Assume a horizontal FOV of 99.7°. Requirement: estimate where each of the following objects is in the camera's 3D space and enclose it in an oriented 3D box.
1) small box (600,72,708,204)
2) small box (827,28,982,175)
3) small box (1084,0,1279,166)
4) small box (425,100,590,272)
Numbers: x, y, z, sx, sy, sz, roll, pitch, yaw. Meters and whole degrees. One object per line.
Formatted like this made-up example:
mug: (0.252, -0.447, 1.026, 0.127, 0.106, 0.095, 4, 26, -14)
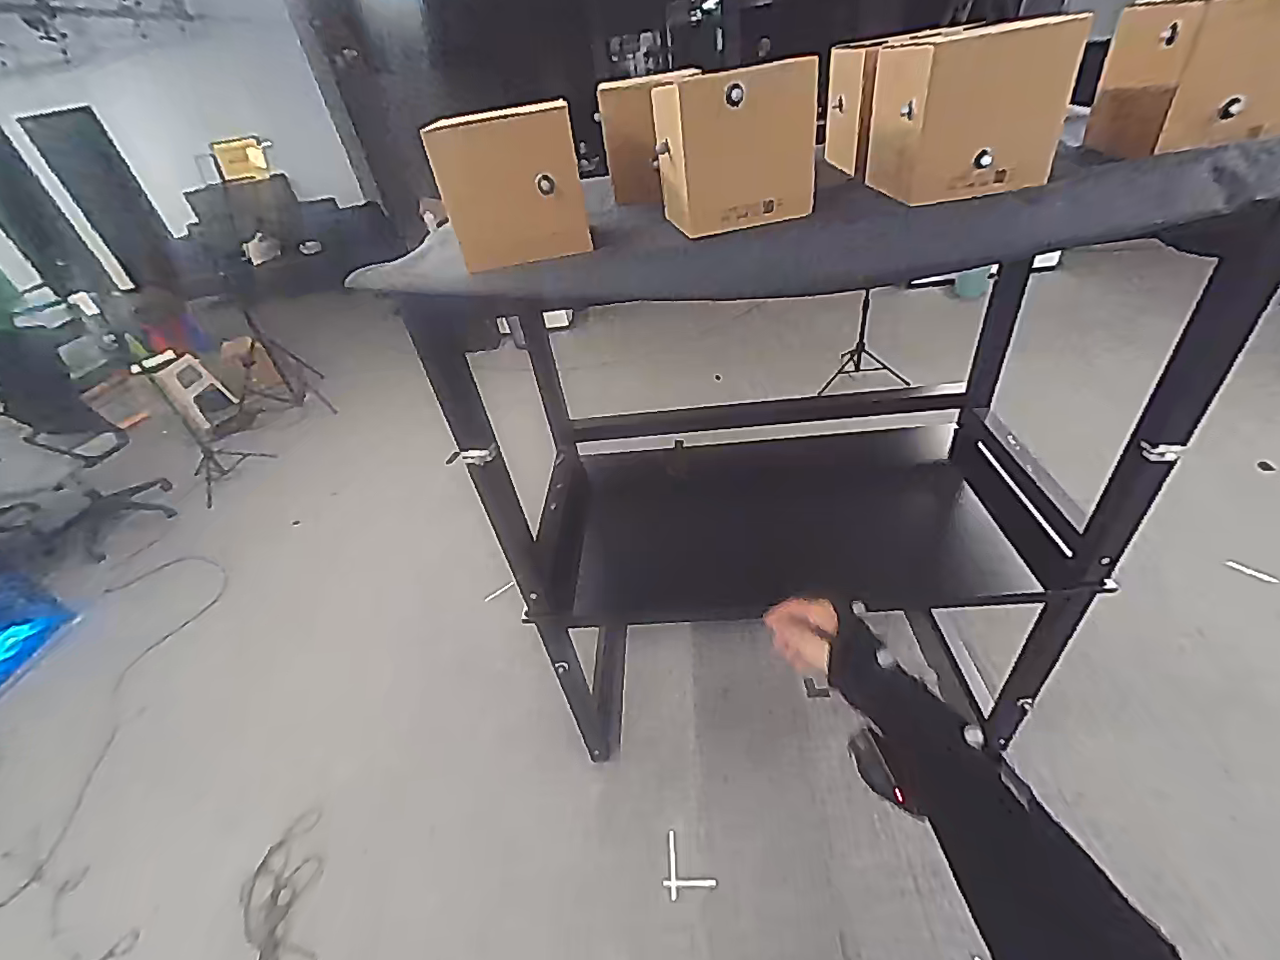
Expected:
small box: (0.027, -0.598, 0.949, 0.168, 0.176, 0.179, -7, 39, 4)
small box: (0.412, -0.606, 0.876, 0.168, 0.176, 0.179, -6, 37, 4)
small box: (0.726, -0.517, 0.695, 0.168, 0.176, 0.179, -2, 39, 10)
small box: (-0.165, -0.403, 0.741, 0.179, 0.176, 0.168, -10, 37, -2)
